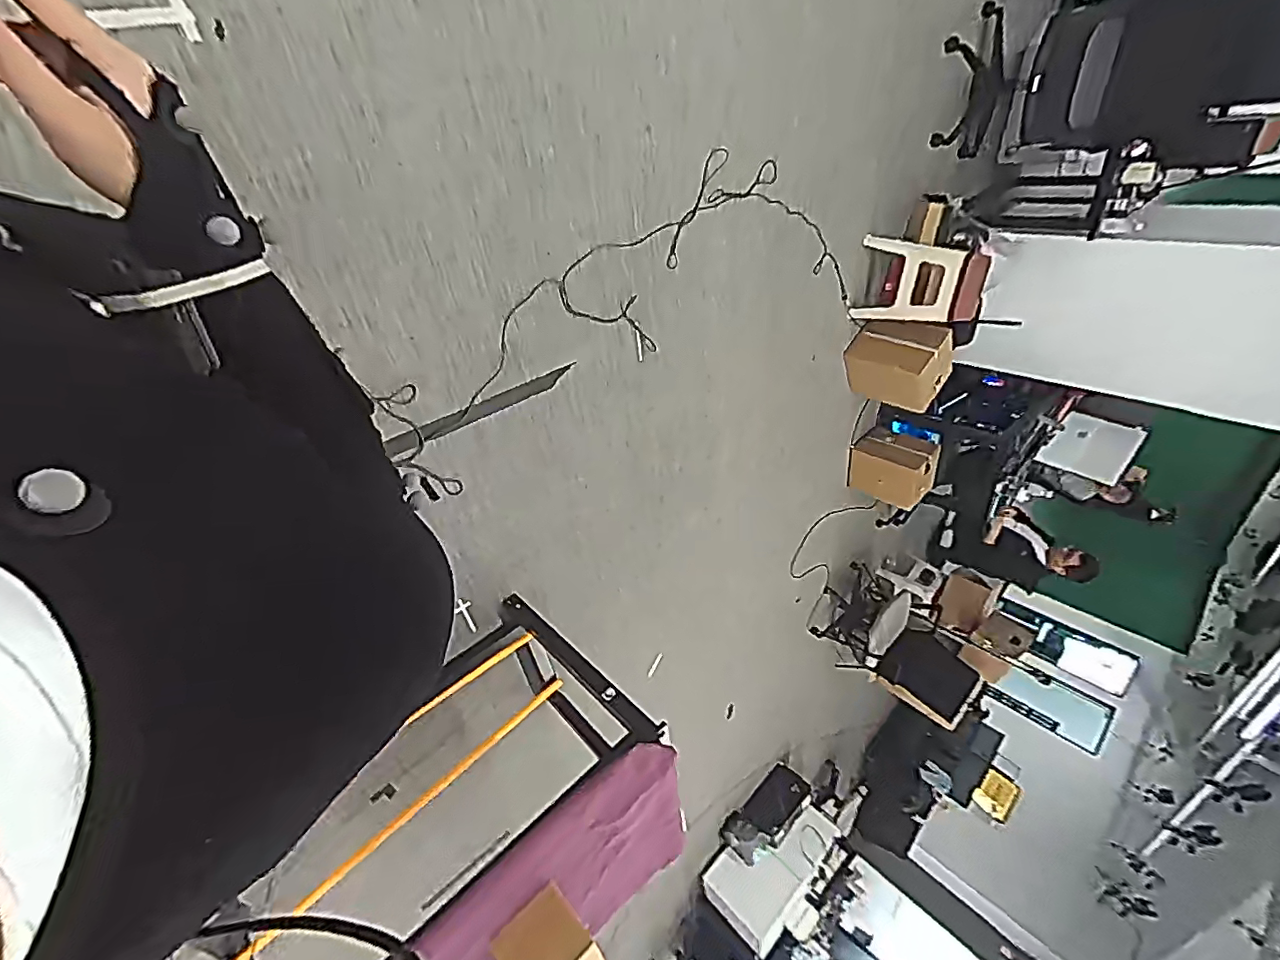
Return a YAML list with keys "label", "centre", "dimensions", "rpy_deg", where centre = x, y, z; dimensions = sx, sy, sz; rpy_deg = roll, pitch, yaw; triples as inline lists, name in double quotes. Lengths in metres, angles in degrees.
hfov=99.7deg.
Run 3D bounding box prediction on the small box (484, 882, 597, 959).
- label: "small box"
  centre: [-0.223, 1.072, 1.225]
  dimensions: [0.179, 0.176, 0.168]
  rpy_deg: [-31, 131, -31]
